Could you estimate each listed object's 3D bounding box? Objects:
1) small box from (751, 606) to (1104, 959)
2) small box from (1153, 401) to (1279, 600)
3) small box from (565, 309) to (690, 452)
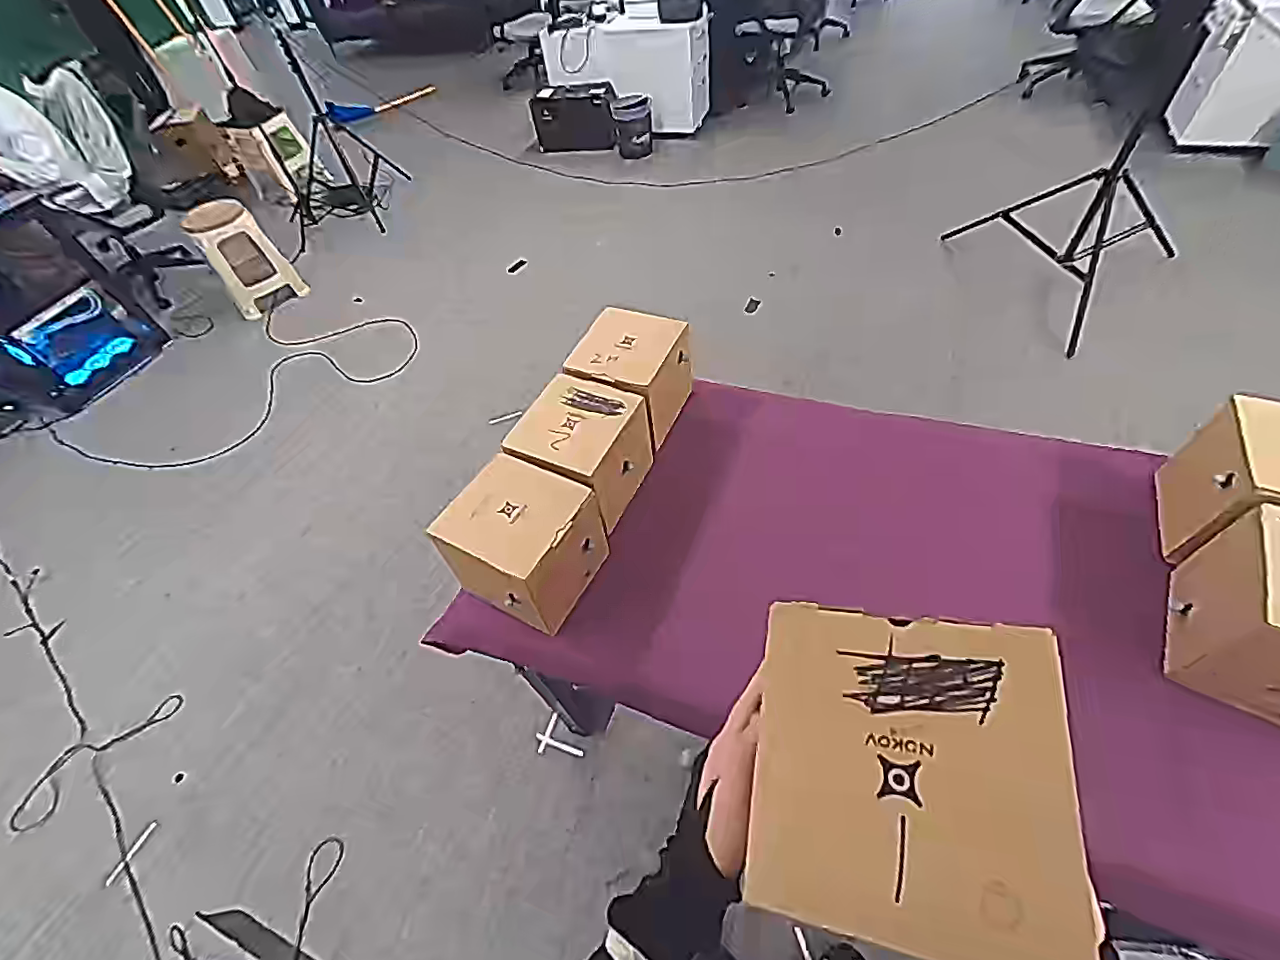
[{"bbox_3d":[0.181,0.205,0.377,0.168,0.176,0.179,1,61,23],"label":"small box"},{"bbox_3d":[0.833,0.029,0.720,0.168,0.176,0.179,18,56,20],"label":"small box"},{"bbox_3d":[-0.015,-0.184,1.001,0.168,0.176,0.179,17,57,20],"label":"small box"}]
